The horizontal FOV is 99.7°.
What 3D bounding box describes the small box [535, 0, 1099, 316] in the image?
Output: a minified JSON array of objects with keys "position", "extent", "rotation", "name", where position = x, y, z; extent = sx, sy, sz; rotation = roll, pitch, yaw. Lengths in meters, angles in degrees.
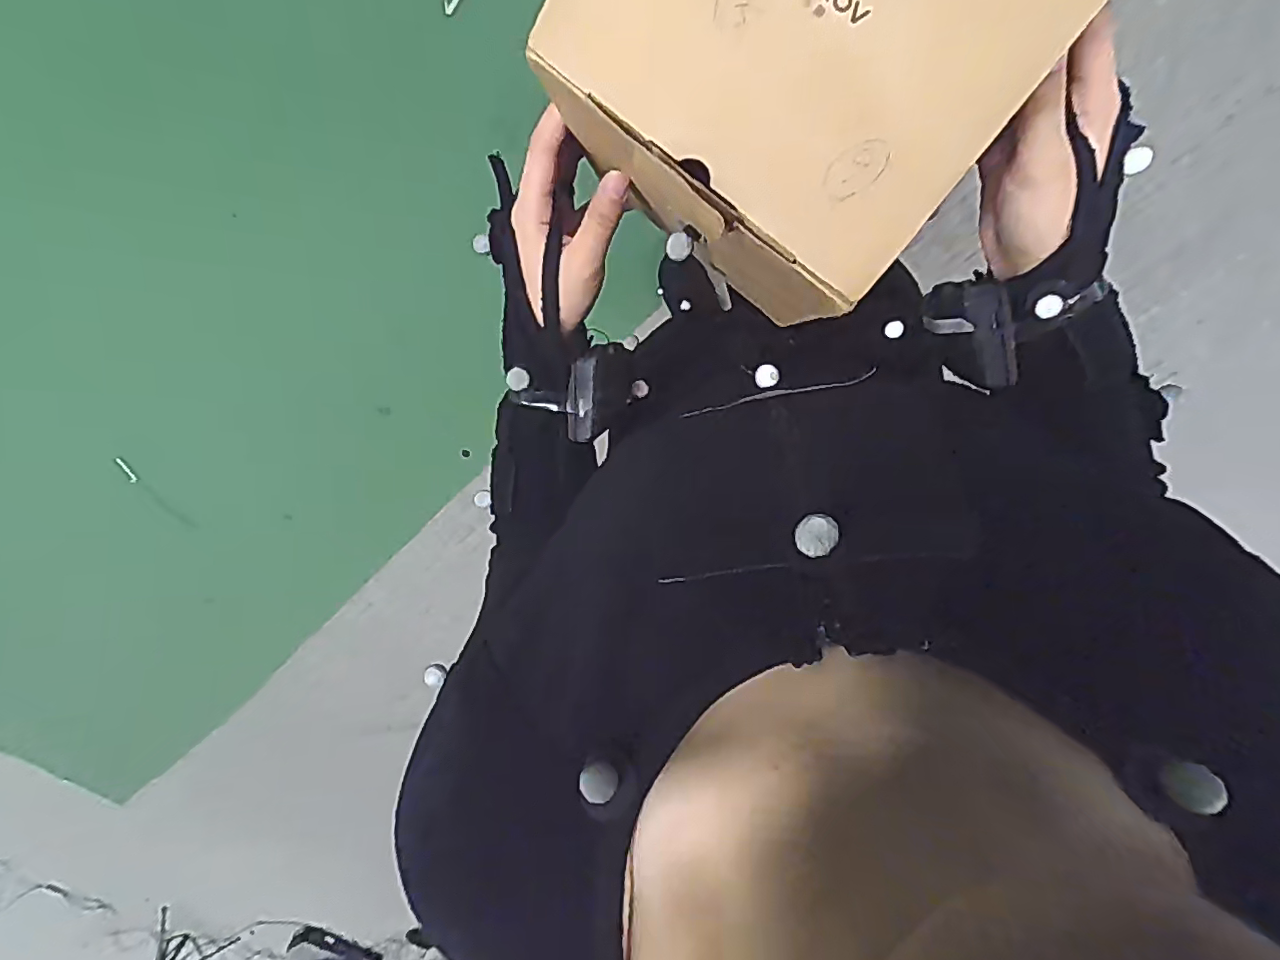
[{"position":[0.080,-0.202,0.278],"extent":[0.168,0.176,0.179],"rotation":[37,105,-4],"name":"small box"}]
